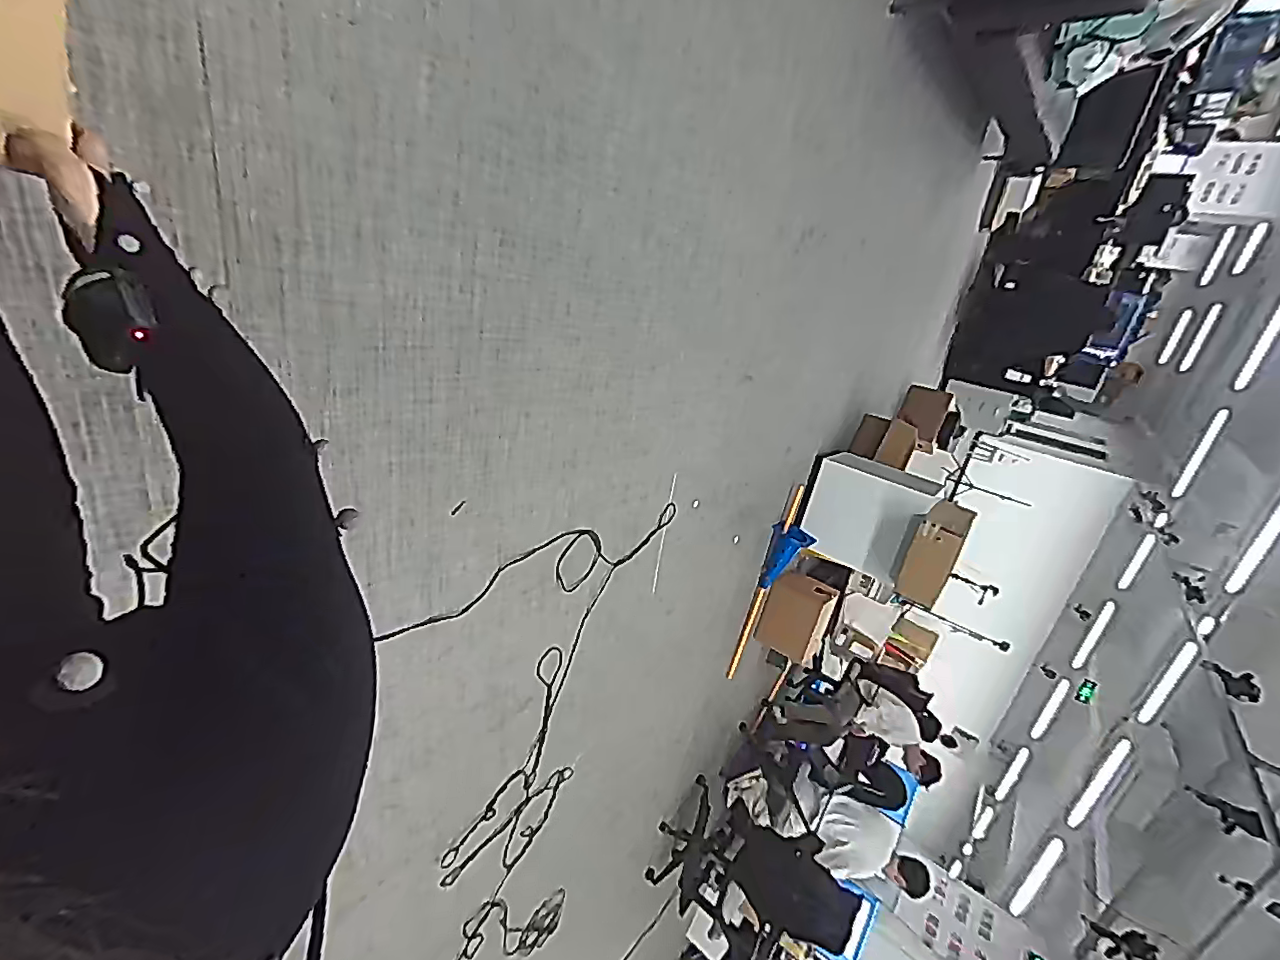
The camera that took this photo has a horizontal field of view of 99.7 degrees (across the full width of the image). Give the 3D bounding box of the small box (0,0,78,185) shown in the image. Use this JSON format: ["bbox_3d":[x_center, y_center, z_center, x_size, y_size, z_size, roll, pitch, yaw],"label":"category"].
[{"bbox_3d":[-0.568,-0.352,0.410,0.168,0.176,0.179,-10,121,-54],"label":"small box"}]
